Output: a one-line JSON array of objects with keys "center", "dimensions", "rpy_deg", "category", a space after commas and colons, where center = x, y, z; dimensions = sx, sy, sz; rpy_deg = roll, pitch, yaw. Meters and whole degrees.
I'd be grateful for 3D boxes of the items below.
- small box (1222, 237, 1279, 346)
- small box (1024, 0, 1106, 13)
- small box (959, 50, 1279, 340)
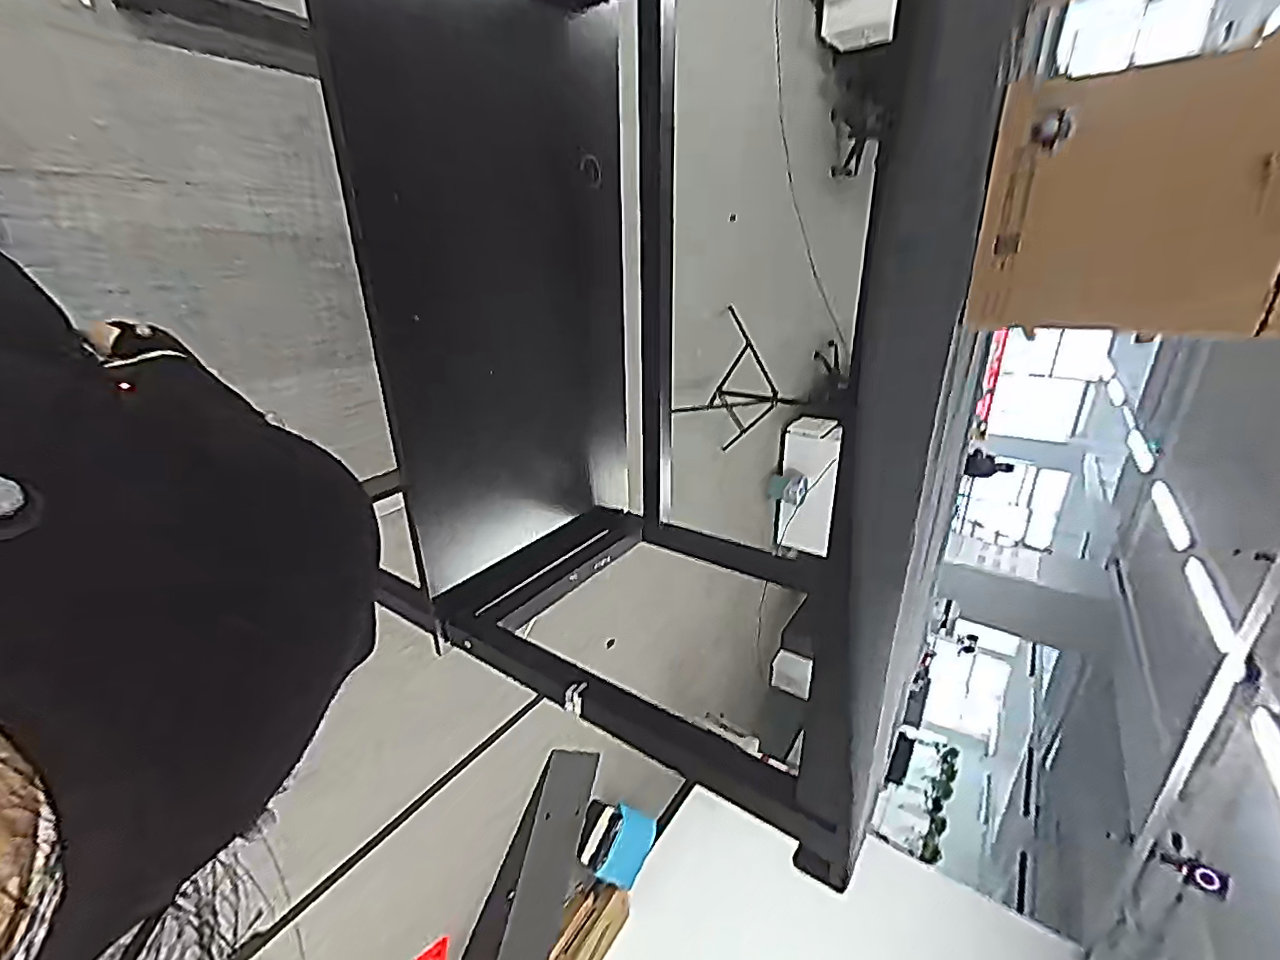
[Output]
[{"center": [0.506, -0.173, 0.352], "dimensions": [0.179, 0.176, 0.168], "rpy_deg": [-27, 124, -52], "category": "small box"}, {"center": [0.346, -0.420, 0.322], "dimensions": [0.179, 0.176, 0.168], "rpy_deg": [-32, 128, -51], "category": "small box"}, {"center": [0.366, -0.204, 0.433], "dimensions": [0.179, 0.176, 0.168], "rpy_deg": [-29, 125, -53], "category": "small box"}]
